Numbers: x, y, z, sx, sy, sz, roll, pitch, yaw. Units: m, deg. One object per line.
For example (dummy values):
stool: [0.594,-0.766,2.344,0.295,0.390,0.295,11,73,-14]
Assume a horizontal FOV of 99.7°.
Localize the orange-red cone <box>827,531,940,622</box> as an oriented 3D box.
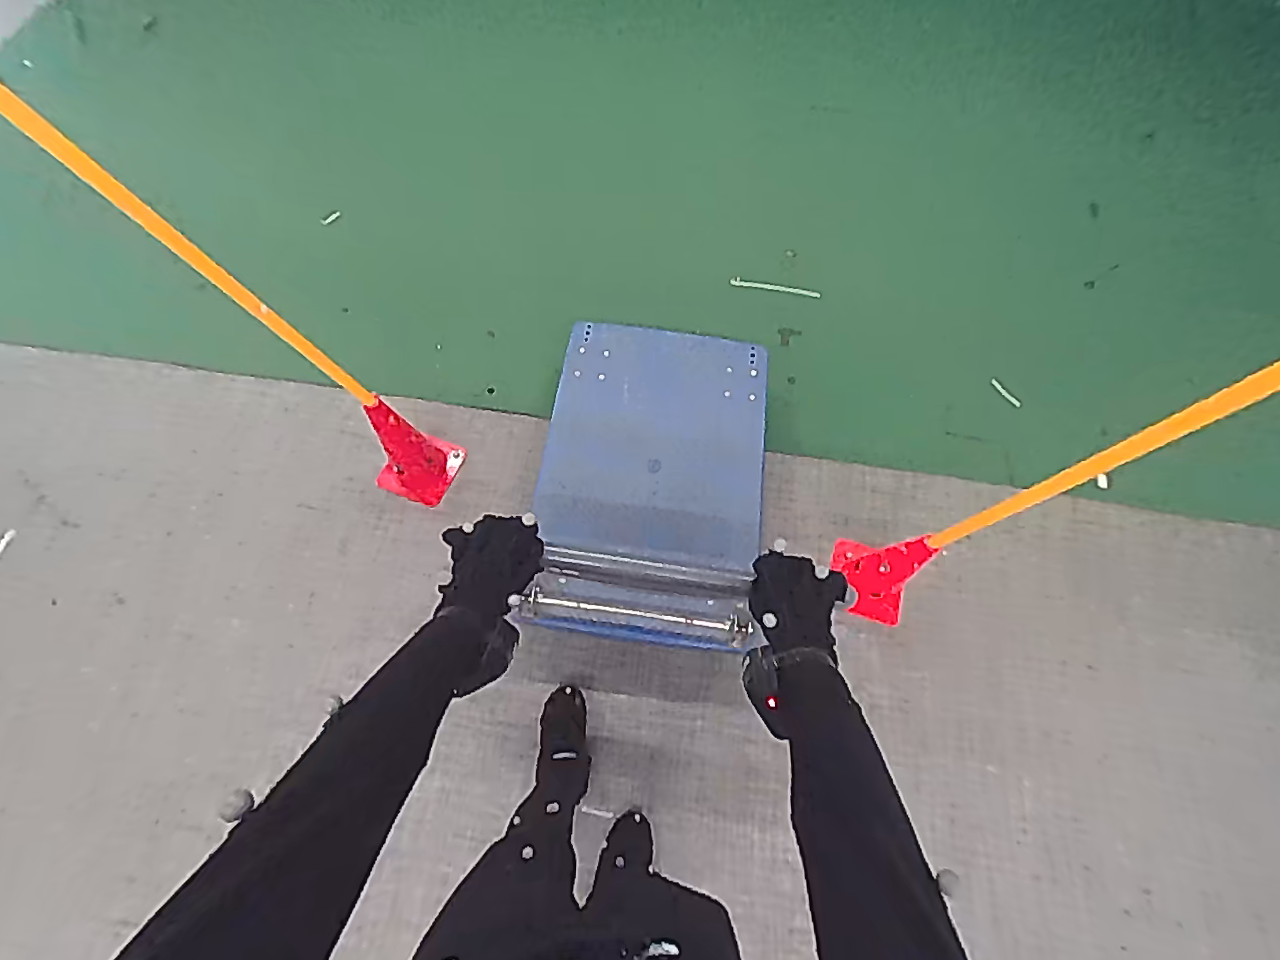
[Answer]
orange-red cone: [0.621,0.198,1.309,0.198,0.360,0.199,18,68,7]
